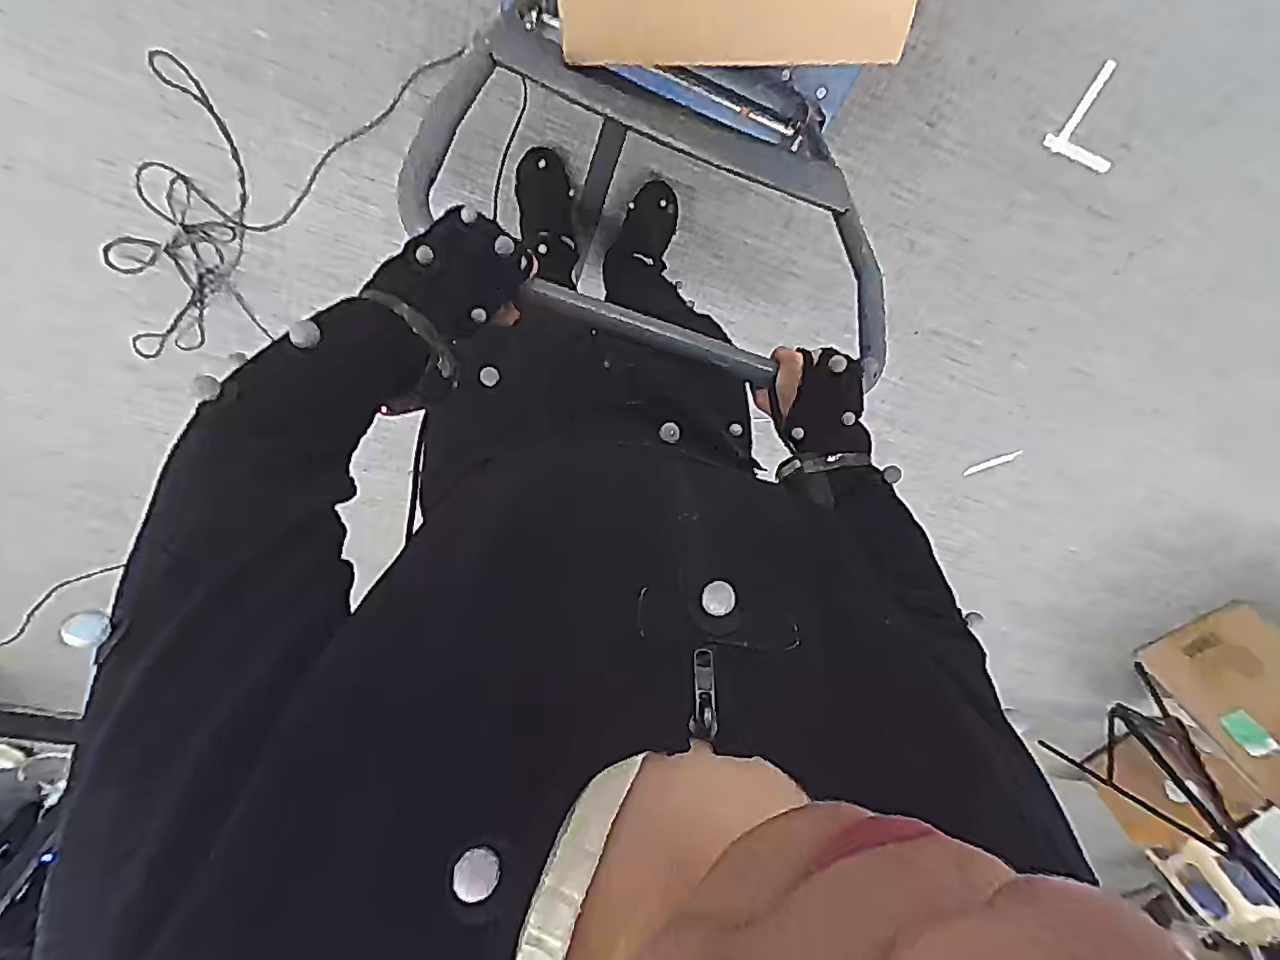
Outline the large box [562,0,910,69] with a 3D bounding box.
[{"bbox_3d":[0.105,-0.719,0.638,0.408,0.320,0.320,-1,140,1],"label":"large box"}]
